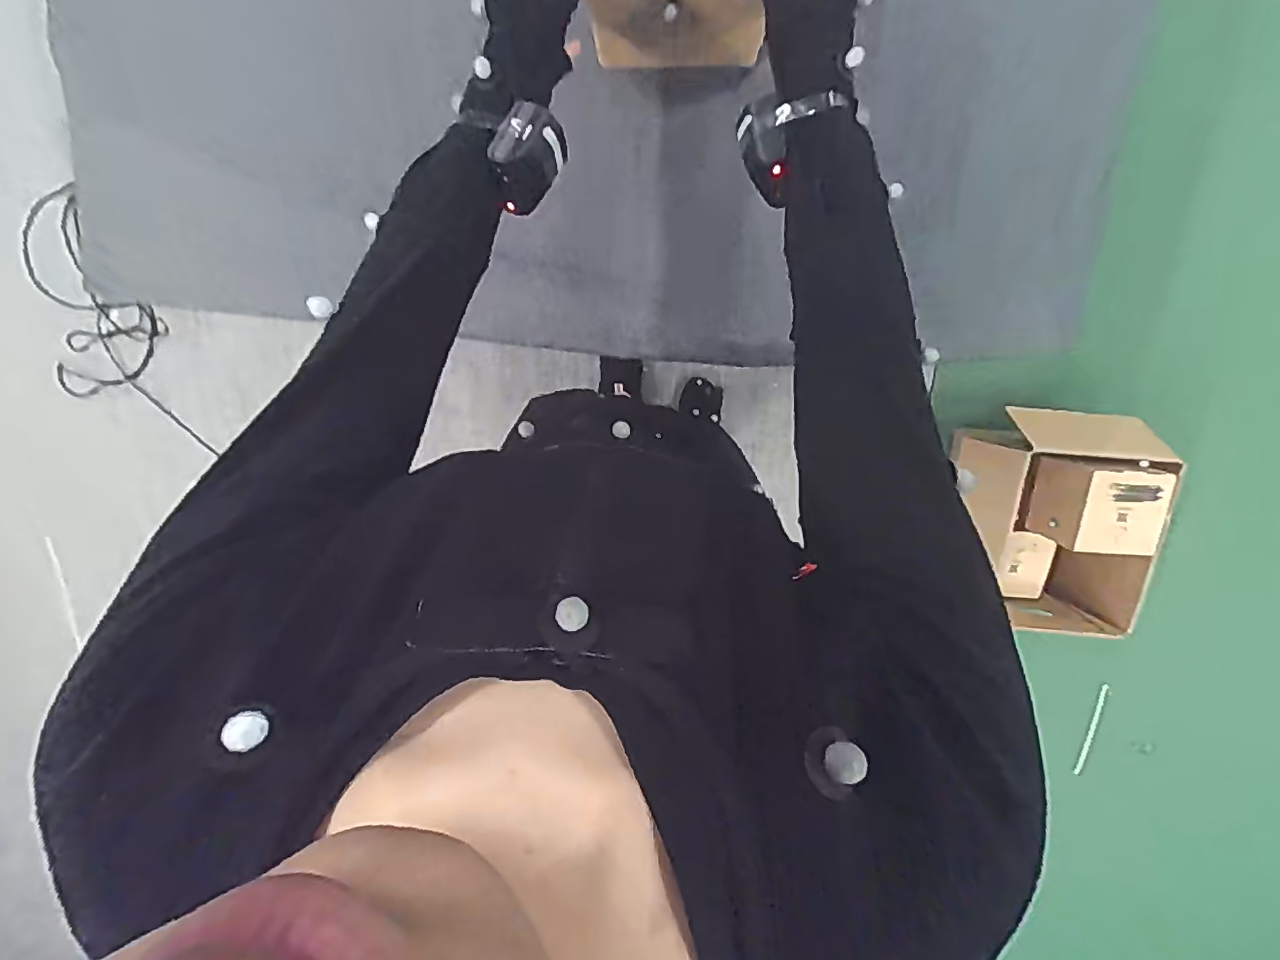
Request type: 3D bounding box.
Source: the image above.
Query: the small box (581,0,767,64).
[{"bbox_3d":[0.036,-0.523,0.507,0.179,0.176,0.168,2,106,4],"label":"small box"}]
